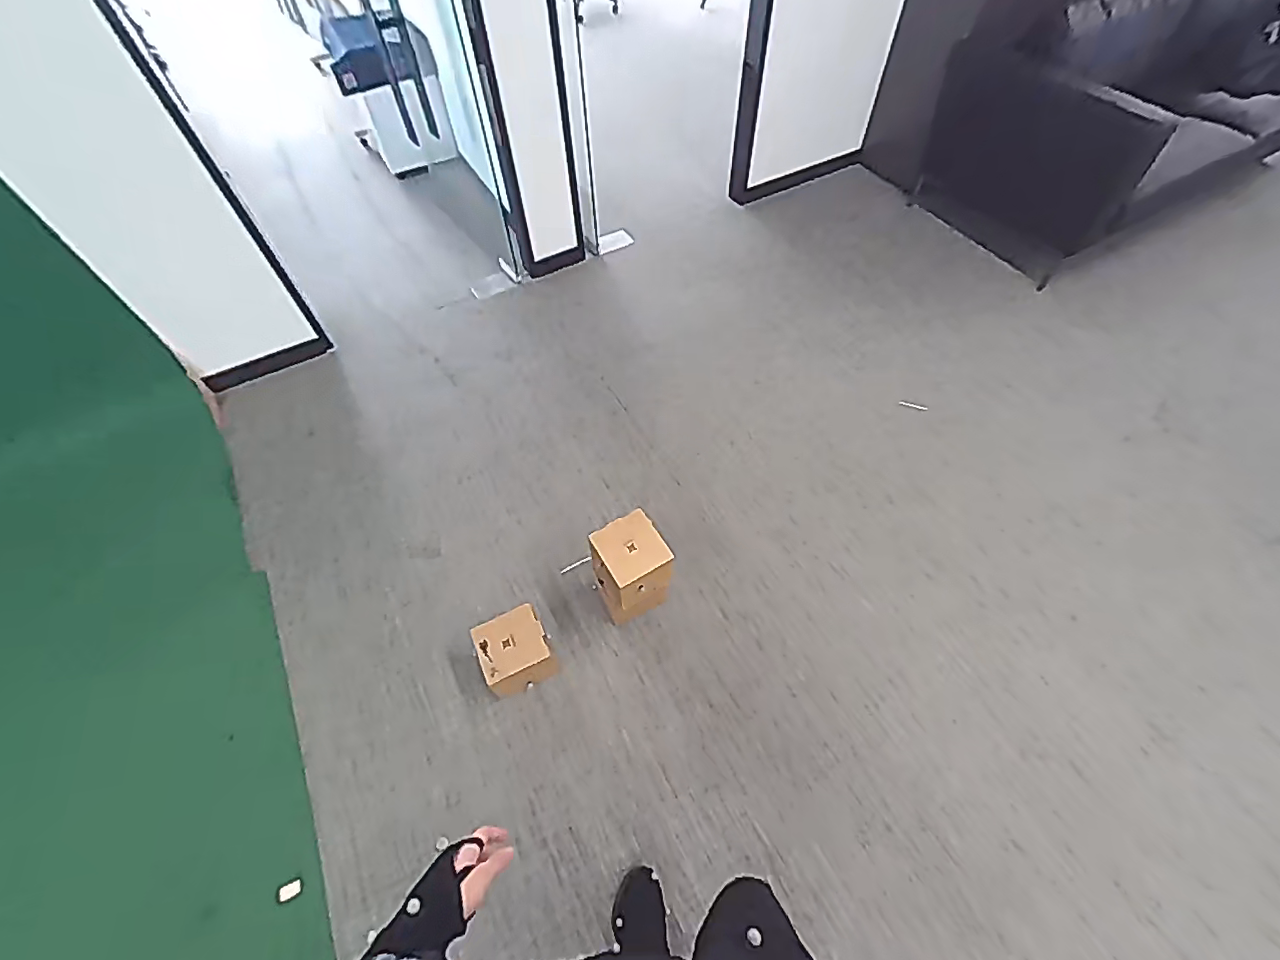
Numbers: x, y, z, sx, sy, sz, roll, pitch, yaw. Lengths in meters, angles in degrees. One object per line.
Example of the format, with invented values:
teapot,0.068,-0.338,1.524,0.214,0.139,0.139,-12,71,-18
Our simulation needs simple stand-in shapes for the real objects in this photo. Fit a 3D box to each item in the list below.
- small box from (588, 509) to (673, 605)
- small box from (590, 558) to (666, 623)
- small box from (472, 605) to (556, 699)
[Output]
small box,-0.023,0.217,1.464,0.168,0.176,0.179,-28,60,-16
small box,-0.031,0.298,1.605,0.179,0.176,0.168,-24,59,-15
small box,-0.340,0.478,1.496,0.179,0.176,0.168,-23,58,-14
